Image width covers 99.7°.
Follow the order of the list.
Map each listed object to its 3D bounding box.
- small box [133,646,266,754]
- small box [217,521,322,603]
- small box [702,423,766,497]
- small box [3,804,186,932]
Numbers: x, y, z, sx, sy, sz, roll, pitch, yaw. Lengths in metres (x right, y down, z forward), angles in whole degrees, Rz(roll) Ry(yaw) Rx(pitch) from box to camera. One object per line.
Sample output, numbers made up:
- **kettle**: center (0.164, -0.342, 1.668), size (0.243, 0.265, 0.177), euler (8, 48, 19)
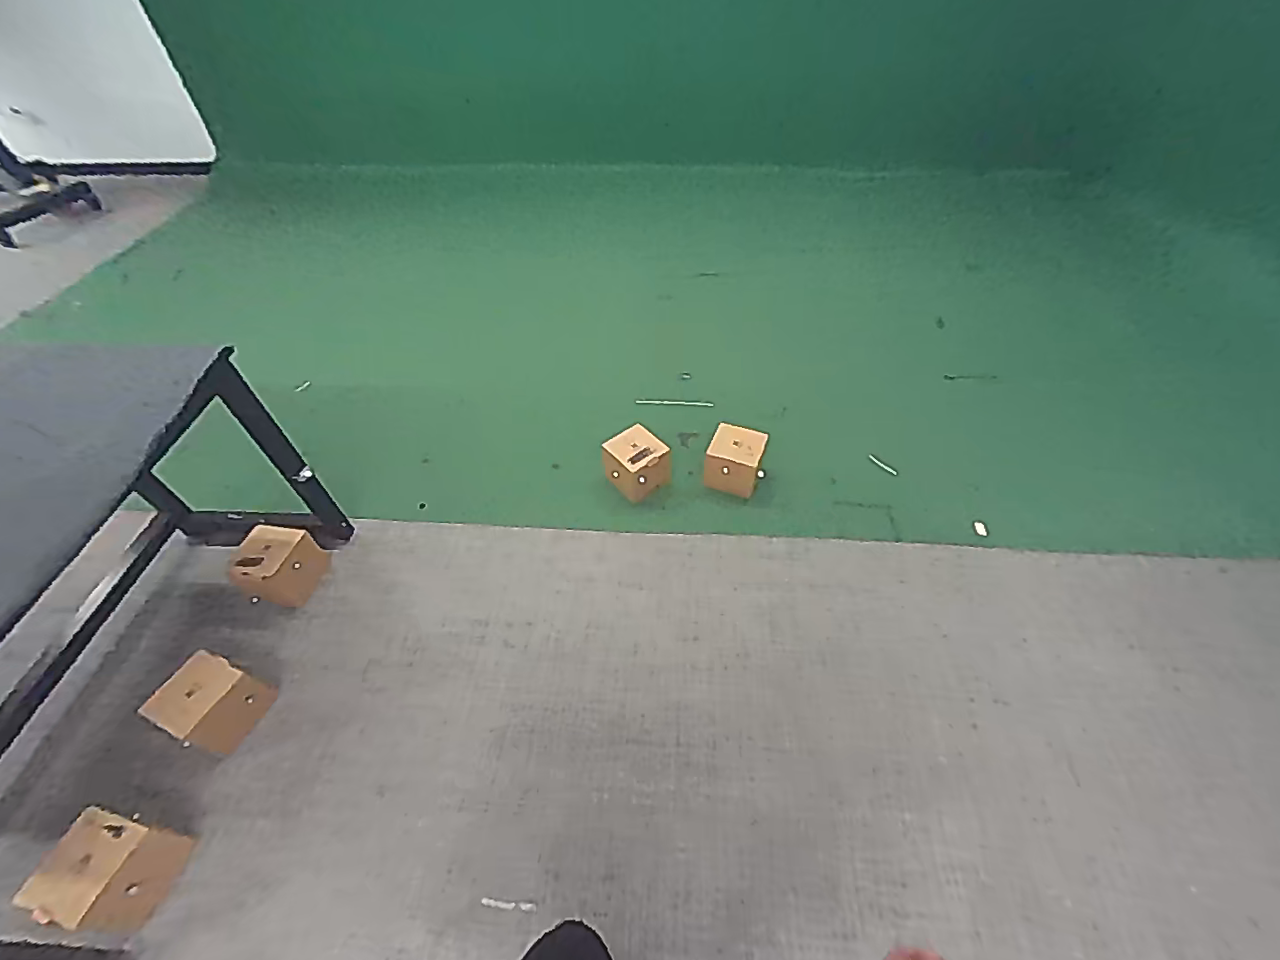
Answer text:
- **small box**: center (-1.096, 0.559, 1.369), size (0.168, 0.176, 0.179), euler (18, 53, 17)
- **small box**: center (-1.105, 0.251, 1.634), size (0.168, 0.176, 0.179), euler (7, 49, 6)
- **small box**: center (0.323, -0.066, 1.880), size (0.179, 0.176, 0.168), euler (18, 52, 15)
- **small box**: center (-1.133, 0.821, 1.144), size (0.168, 0.176, 0.179), euler (12, 51, 11)
